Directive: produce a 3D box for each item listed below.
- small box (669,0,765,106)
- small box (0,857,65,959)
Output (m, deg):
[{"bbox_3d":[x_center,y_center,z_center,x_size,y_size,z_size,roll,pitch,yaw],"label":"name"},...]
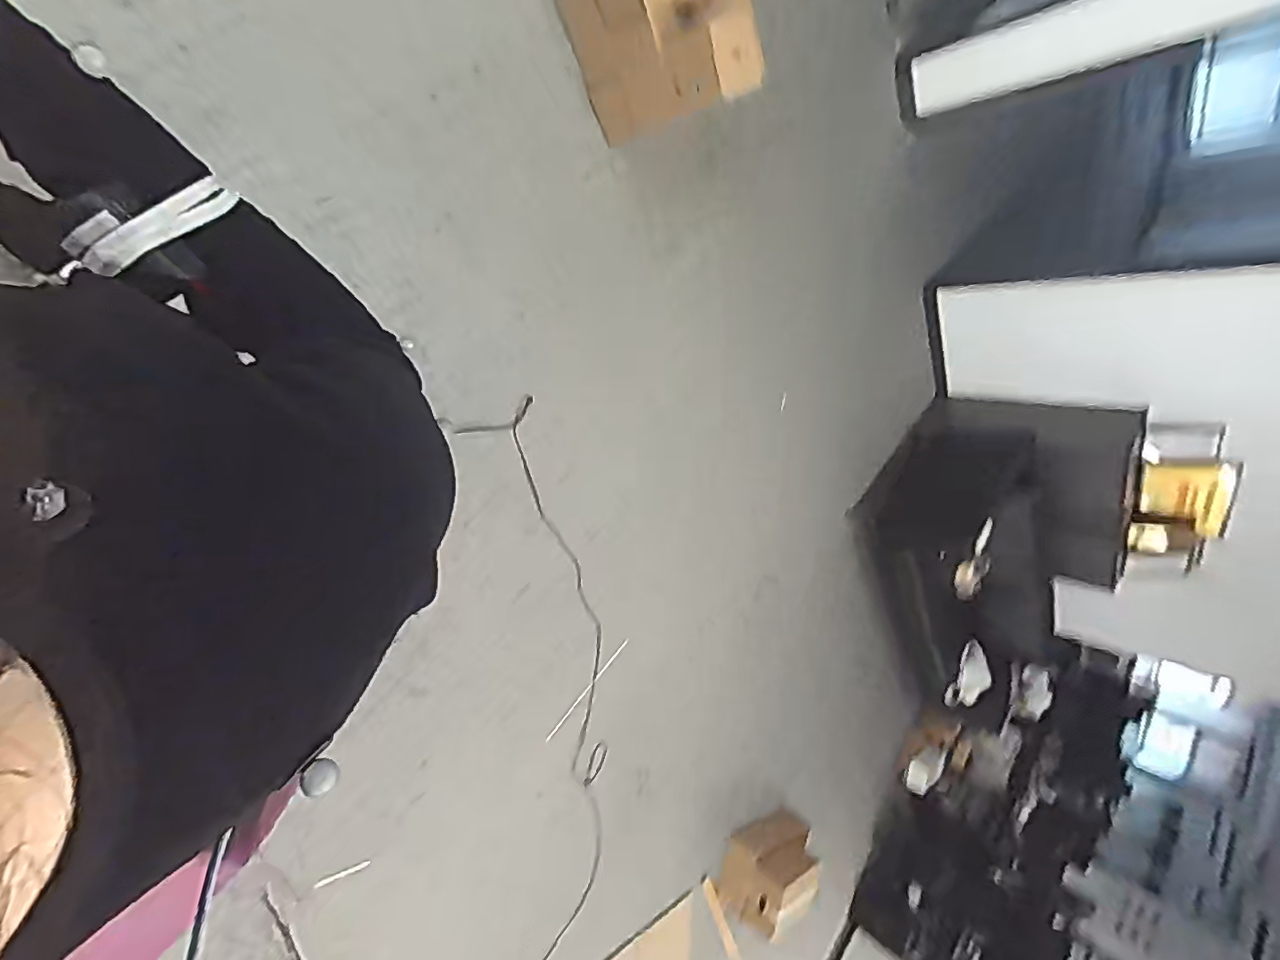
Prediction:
[{"bbox_3d":[0.195,-1.105,1.405,0.179,0.176,0.168,-41,127,-28],"label":"small box"},{"bbox_3d":[-0.682,0.459,0.481,0.168,0.176,0.179,-46,127,-23],"label":"small box"}]
